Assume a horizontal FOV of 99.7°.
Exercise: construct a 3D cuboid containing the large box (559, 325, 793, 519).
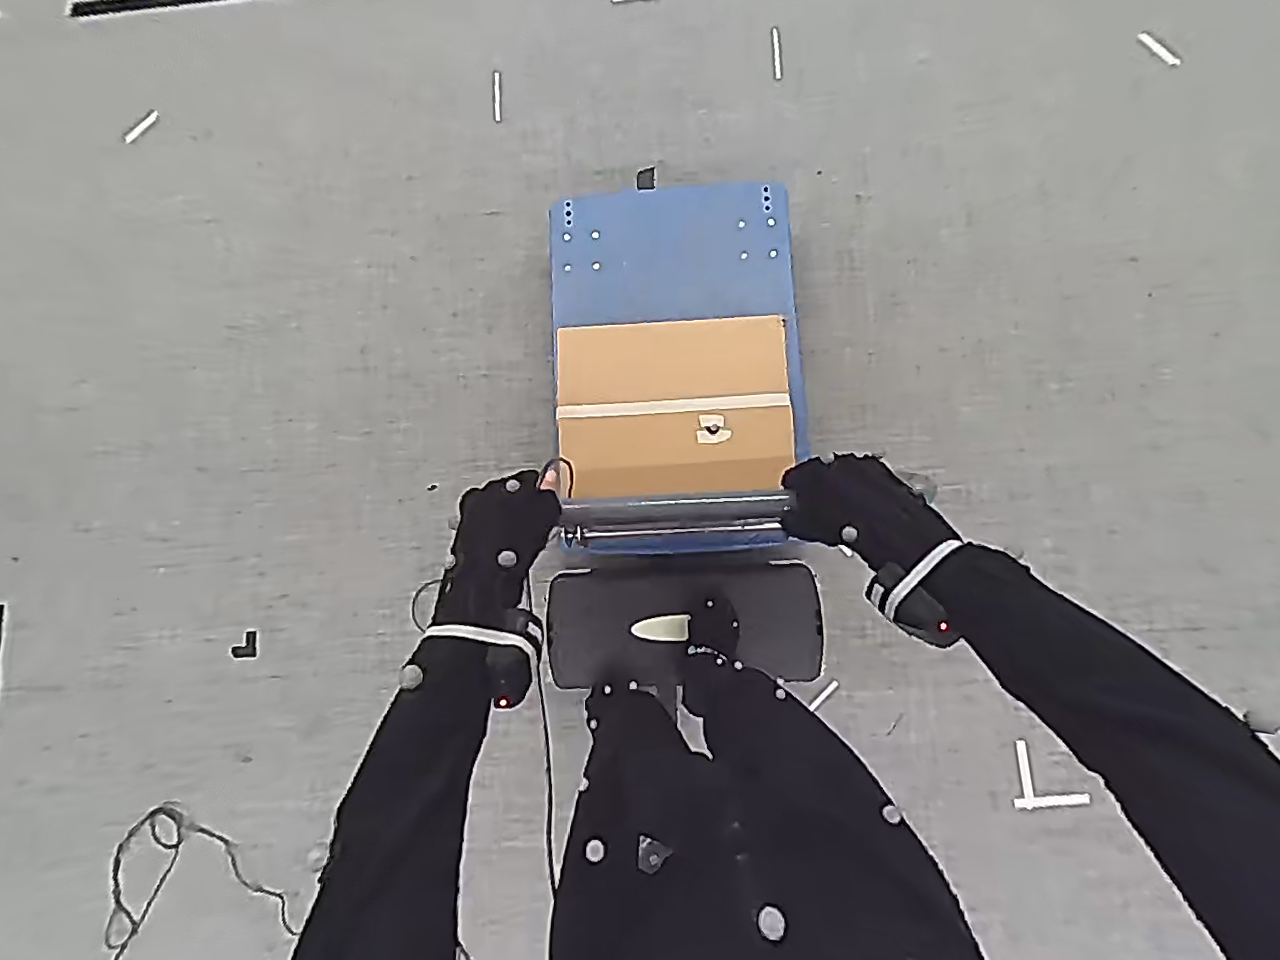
[{"bbox_3d":[0.063,-0.096,1.105,0.408,0.320,0.320,-3,82,2],"label":"large box"}]
